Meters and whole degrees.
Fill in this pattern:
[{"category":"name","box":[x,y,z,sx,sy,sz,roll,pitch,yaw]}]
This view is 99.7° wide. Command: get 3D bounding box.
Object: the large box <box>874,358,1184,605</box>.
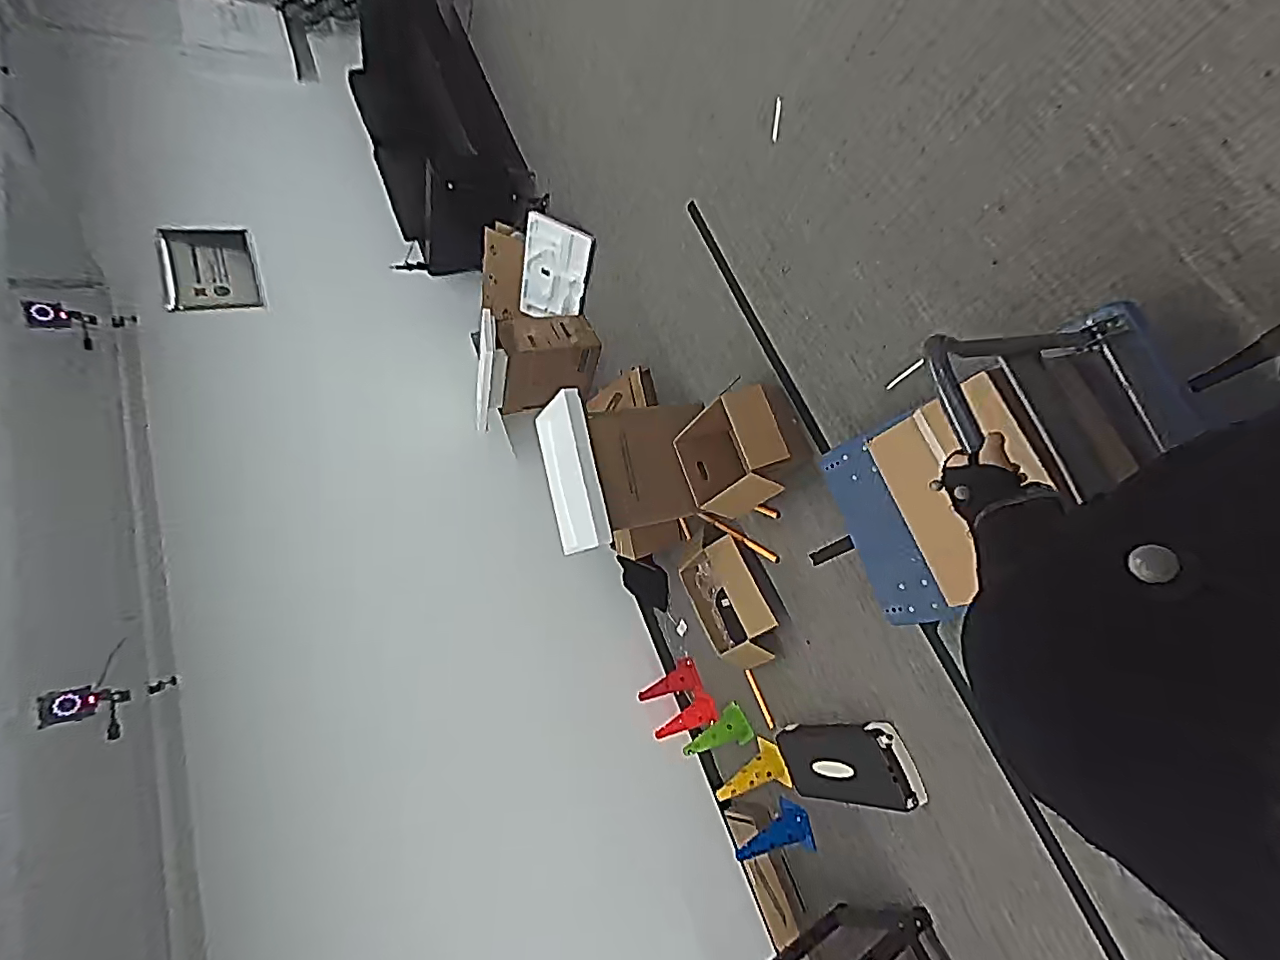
[{"category":"large box","box":[0.794,0.004,1.143,0.320,0.320,0.408,-46,60,57]}]
